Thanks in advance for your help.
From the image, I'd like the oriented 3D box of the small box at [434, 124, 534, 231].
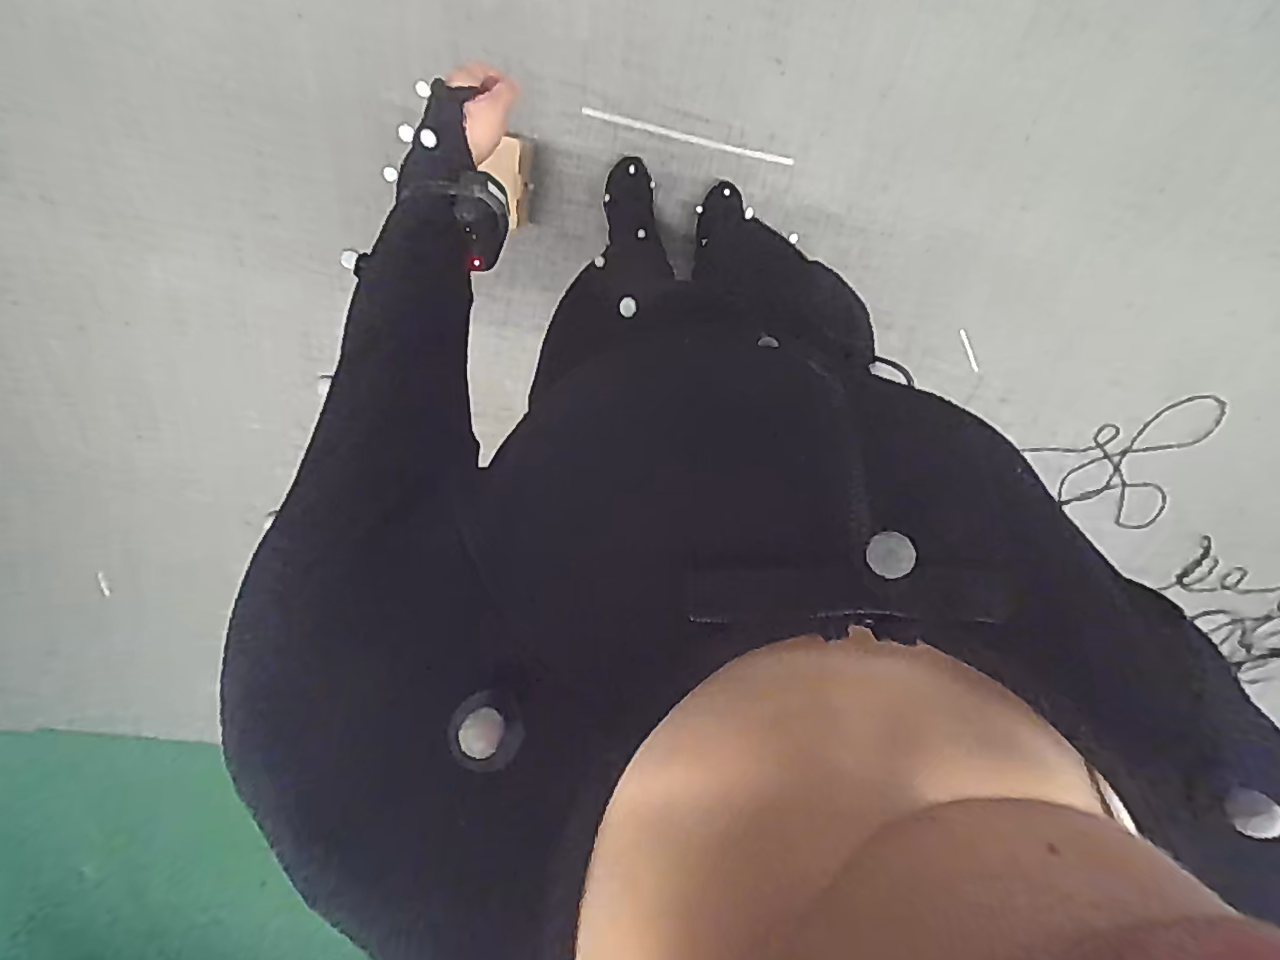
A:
[{"bbox_3d":[-0.327,-0.647,1.157,0.179,0.176,0.168,8,120,-6],"label":"small box"}]
